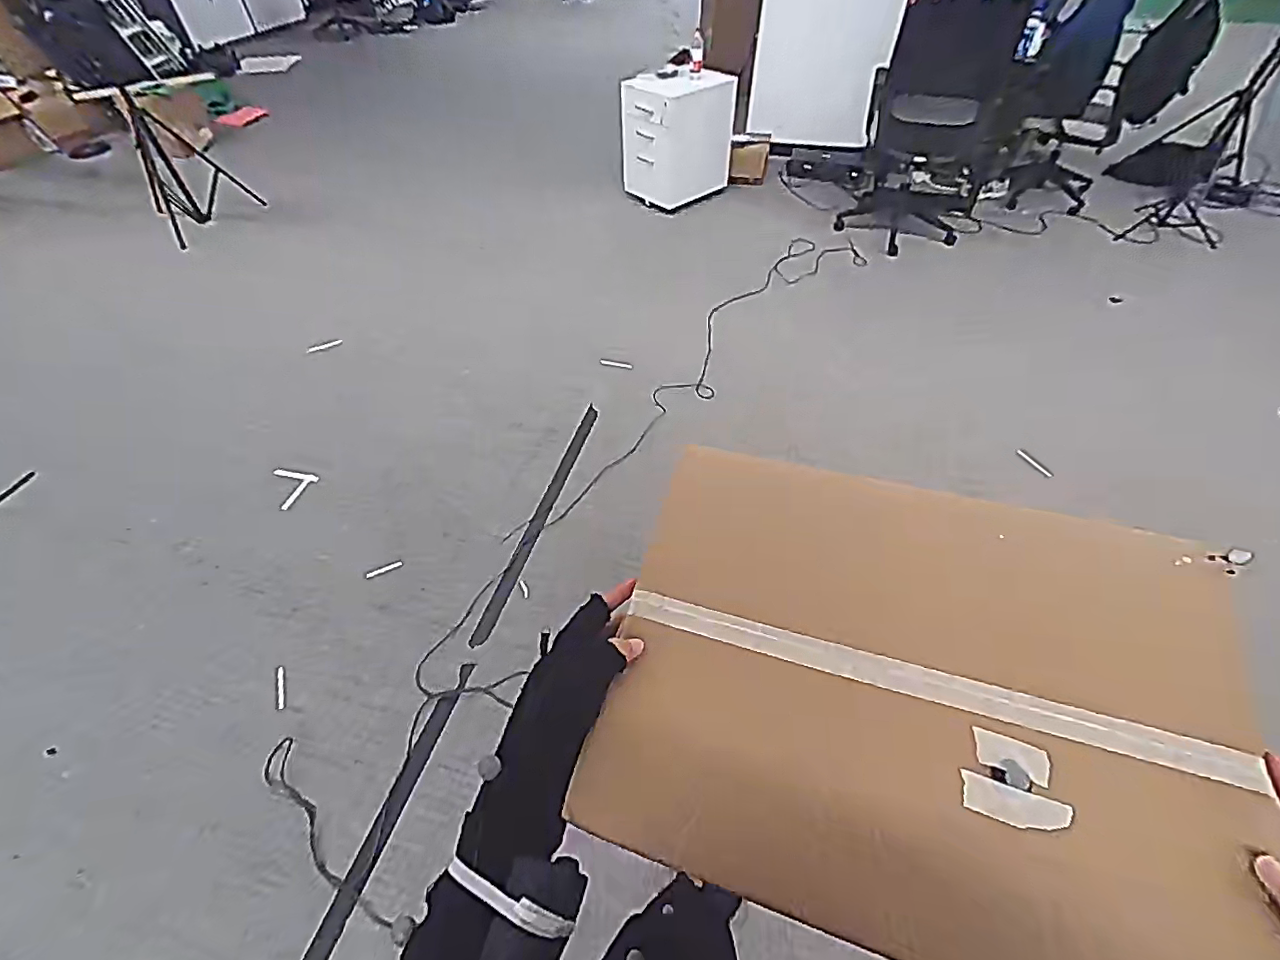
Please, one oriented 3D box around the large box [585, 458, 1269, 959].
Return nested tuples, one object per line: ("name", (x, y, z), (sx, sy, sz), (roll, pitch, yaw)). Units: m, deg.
("large box", (0.209, 0.218, 0.522), (0.408, 0.320, 0.320), (12, 63, 16))
